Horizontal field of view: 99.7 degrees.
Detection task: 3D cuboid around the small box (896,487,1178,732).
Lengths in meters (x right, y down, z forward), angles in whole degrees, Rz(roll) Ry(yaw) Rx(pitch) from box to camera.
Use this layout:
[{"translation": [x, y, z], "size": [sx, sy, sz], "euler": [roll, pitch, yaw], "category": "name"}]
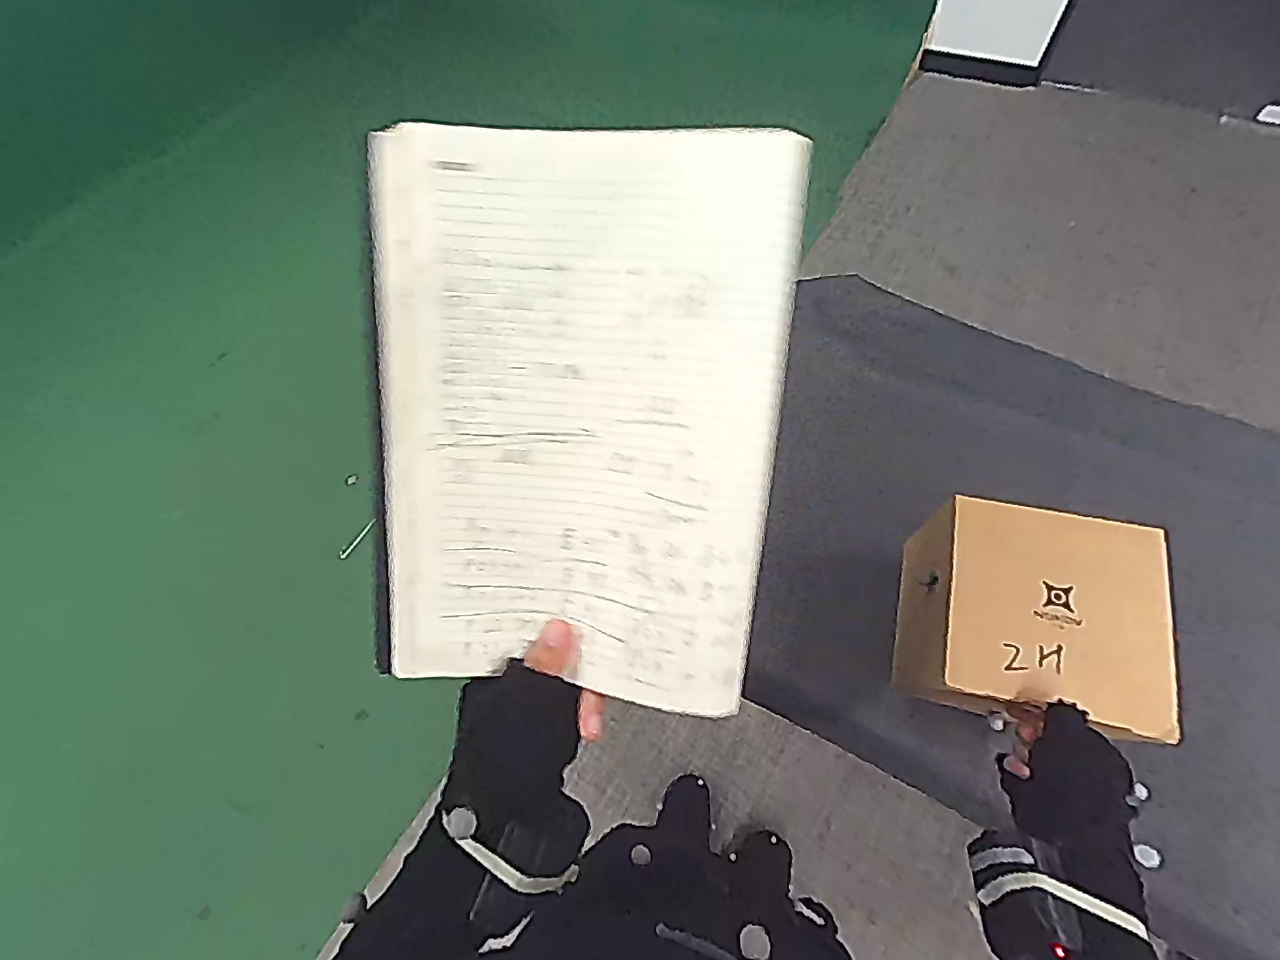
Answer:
[{"translation": [0.364, 0.129, 0.530], "size": [0.168, 0.176, 0.179], "euler": [10, 71, 14], "category": "small box"}]
